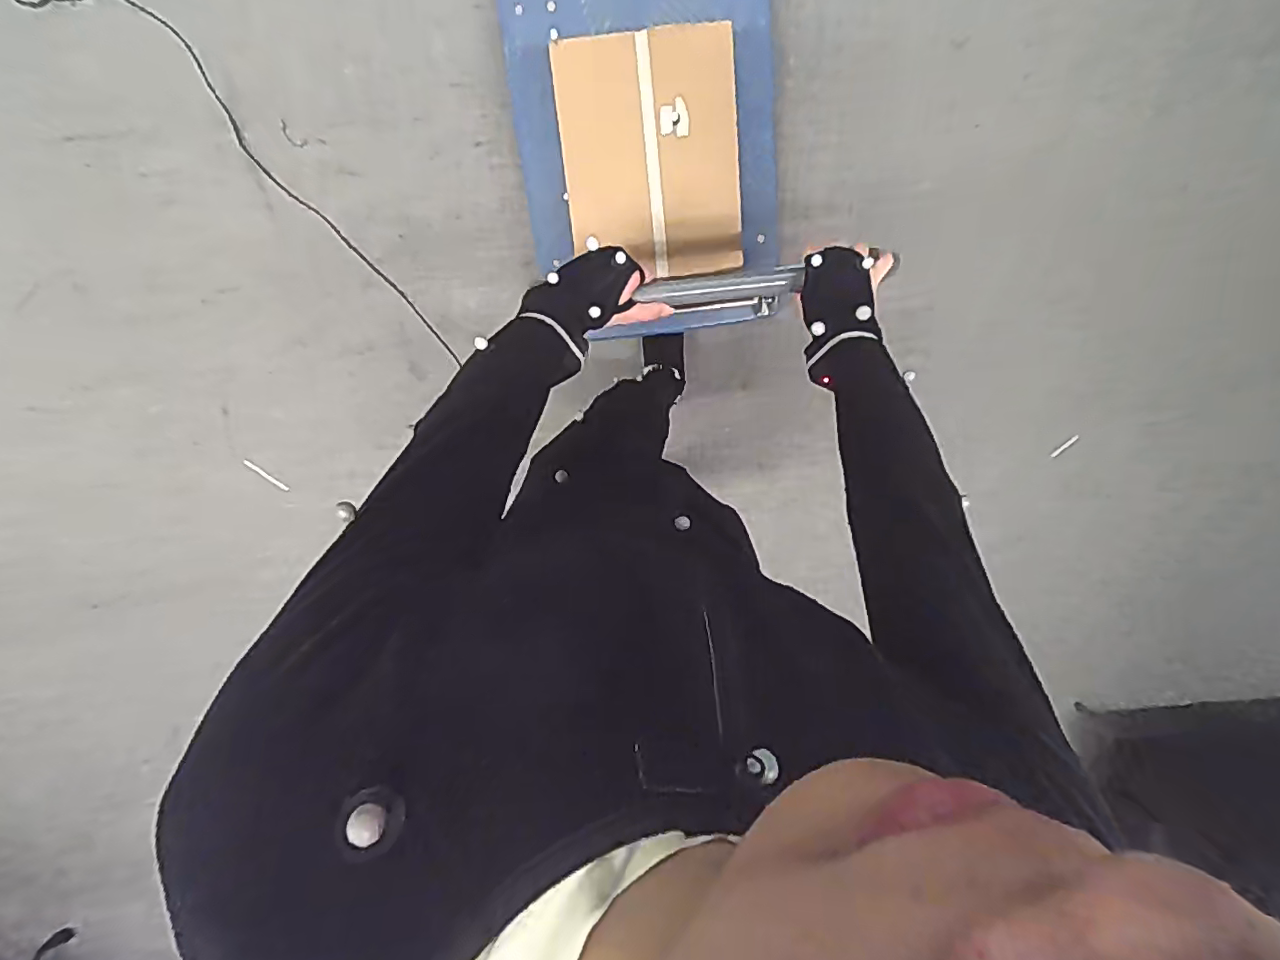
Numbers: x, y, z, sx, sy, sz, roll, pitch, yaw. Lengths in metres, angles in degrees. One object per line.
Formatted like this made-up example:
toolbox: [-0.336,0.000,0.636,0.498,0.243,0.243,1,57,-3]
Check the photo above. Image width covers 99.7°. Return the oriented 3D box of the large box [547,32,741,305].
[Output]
large box: [0.010,-0.595,1.117,0.320,0.320,0.408,-7,105,-2]
